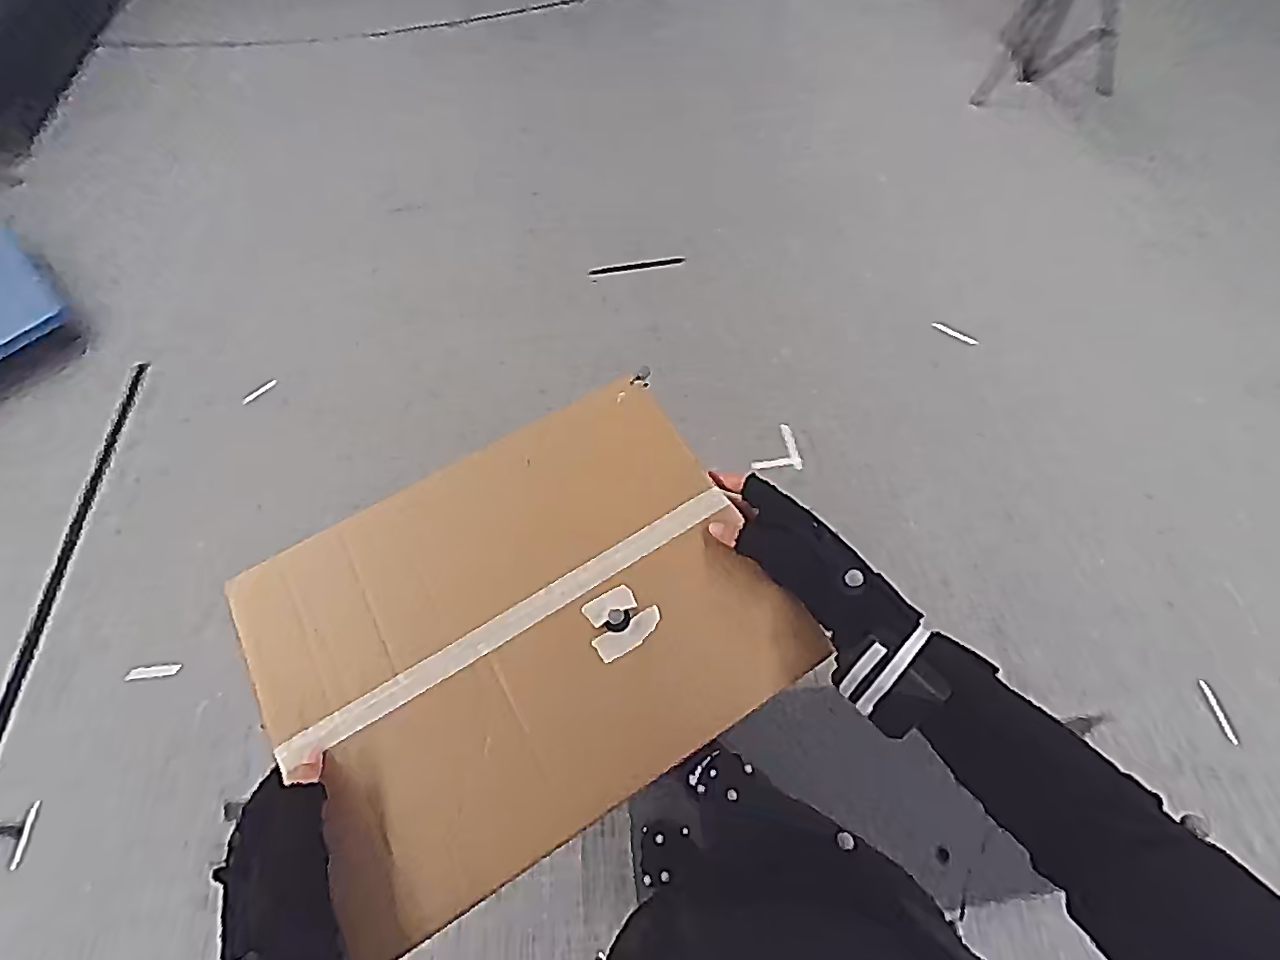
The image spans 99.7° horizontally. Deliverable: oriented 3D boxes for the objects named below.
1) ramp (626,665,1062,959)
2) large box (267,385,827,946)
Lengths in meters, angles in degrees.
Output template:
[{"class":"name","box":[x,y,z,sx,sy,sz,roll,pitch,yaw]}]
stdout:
[{"class":"ramp","box":[0.463,0.744,1.290,0.991,0.206,0.509,-9,62,-1]},{"class":"large box","box":[-0.086,0.174,0.600,0.408,0.320,0.320,-28,70,-11]}]
